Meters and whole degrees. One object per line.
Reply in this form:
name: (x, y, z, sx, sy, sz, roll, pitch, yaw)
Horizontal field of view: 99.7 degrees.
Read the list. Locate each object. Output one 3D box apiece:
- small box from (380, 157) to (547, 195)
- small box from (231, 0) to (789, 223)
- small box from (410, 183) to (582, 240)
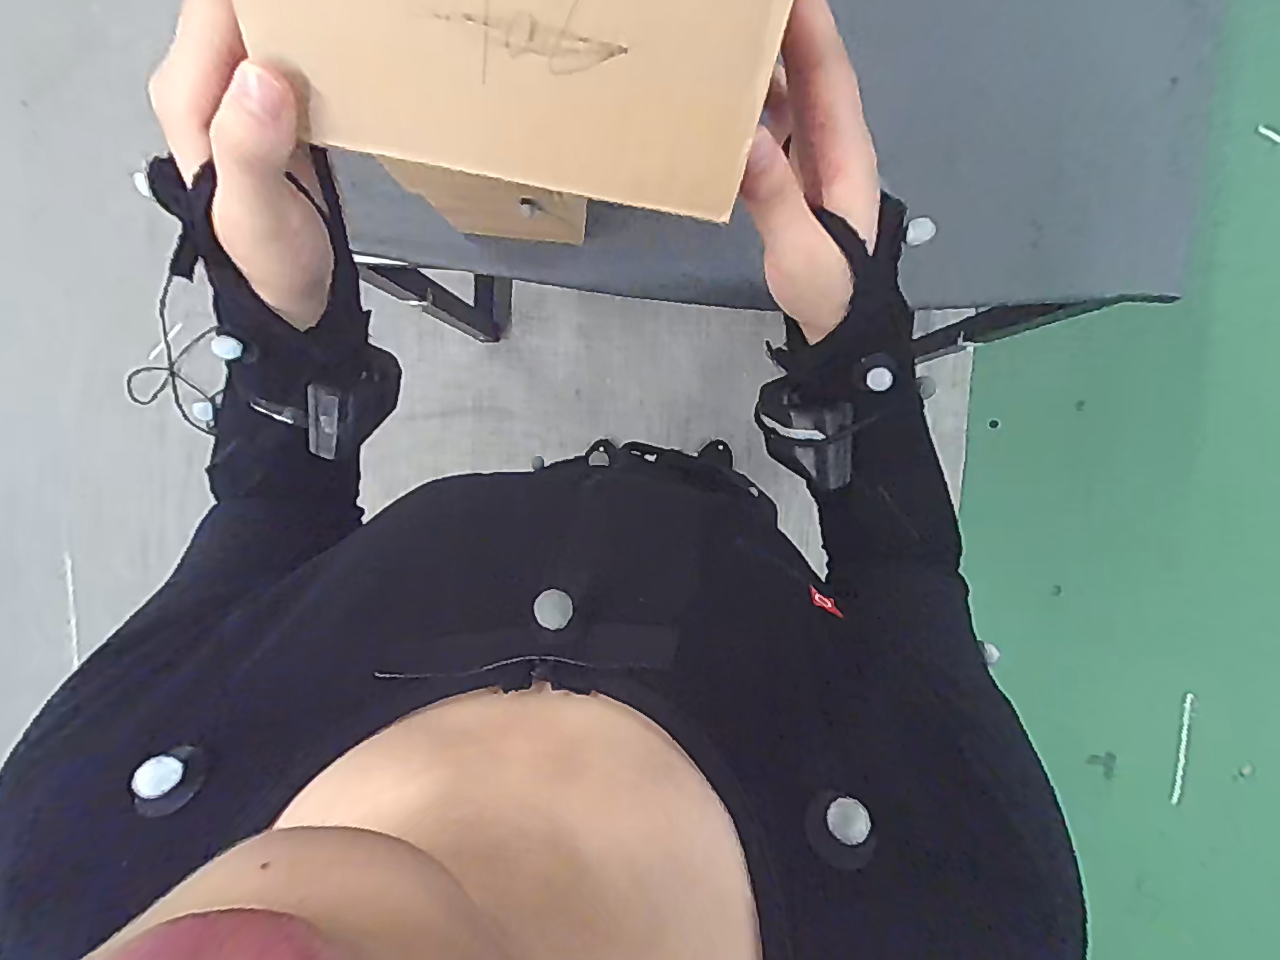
small box: (-0.160, -0.379, 0.489, 0.179, 0.176, 0.168, 4, 96, 3)
small box: (-0.030, -0.225, 0.186, 0.168, 0.176, 0.179, 8, 140, -6)
small box: (-0.160, -0.404, 0.649, 0.179, 0.176, 0.168, 6, 94, 2)
